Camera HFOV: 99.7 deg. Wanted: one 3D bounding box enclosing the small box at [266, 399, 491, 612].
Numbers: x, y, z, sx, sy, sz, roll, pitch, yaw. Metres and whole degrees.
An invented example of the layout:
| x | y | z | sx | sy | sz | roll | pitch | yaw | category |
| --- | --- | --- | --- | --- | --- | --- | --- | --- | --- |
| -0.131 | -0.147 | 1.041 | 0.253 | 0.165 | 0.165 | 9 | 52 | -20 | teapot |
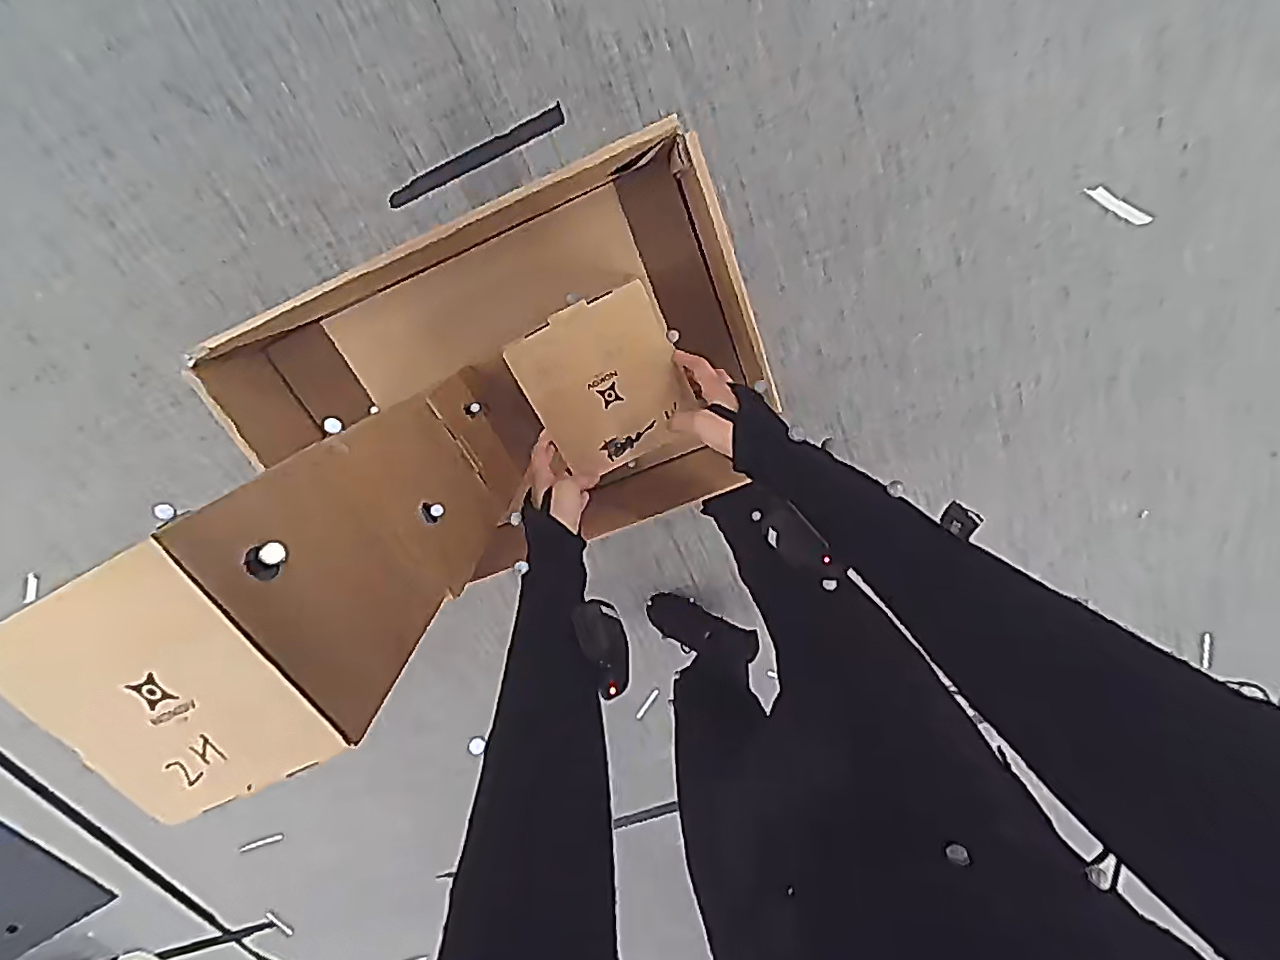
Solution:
| x | y | z | sx | sy | sz | roll | pitch | yaw | category |
| --- | --- | --- | --- | --- | --- | --- | --- | --- | --- |
| -0.280 | 0.040 | 0.557 | 0.168 | 0.176 | 0.179 | -24 | 110 | 9 | small box |

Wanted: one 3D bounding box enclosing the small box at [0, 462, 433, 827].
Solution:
| x | y | z | sx | sy | sz | roll | pitch | yaw | category |
| --- | --- | --- | --- | --- | --- | --- | --- | --- | --- |
| -0.293 | 0.104 | 0.405 | 0.168 | 0.176 | 0.179 | -26 | 110 | 10 | small box |
